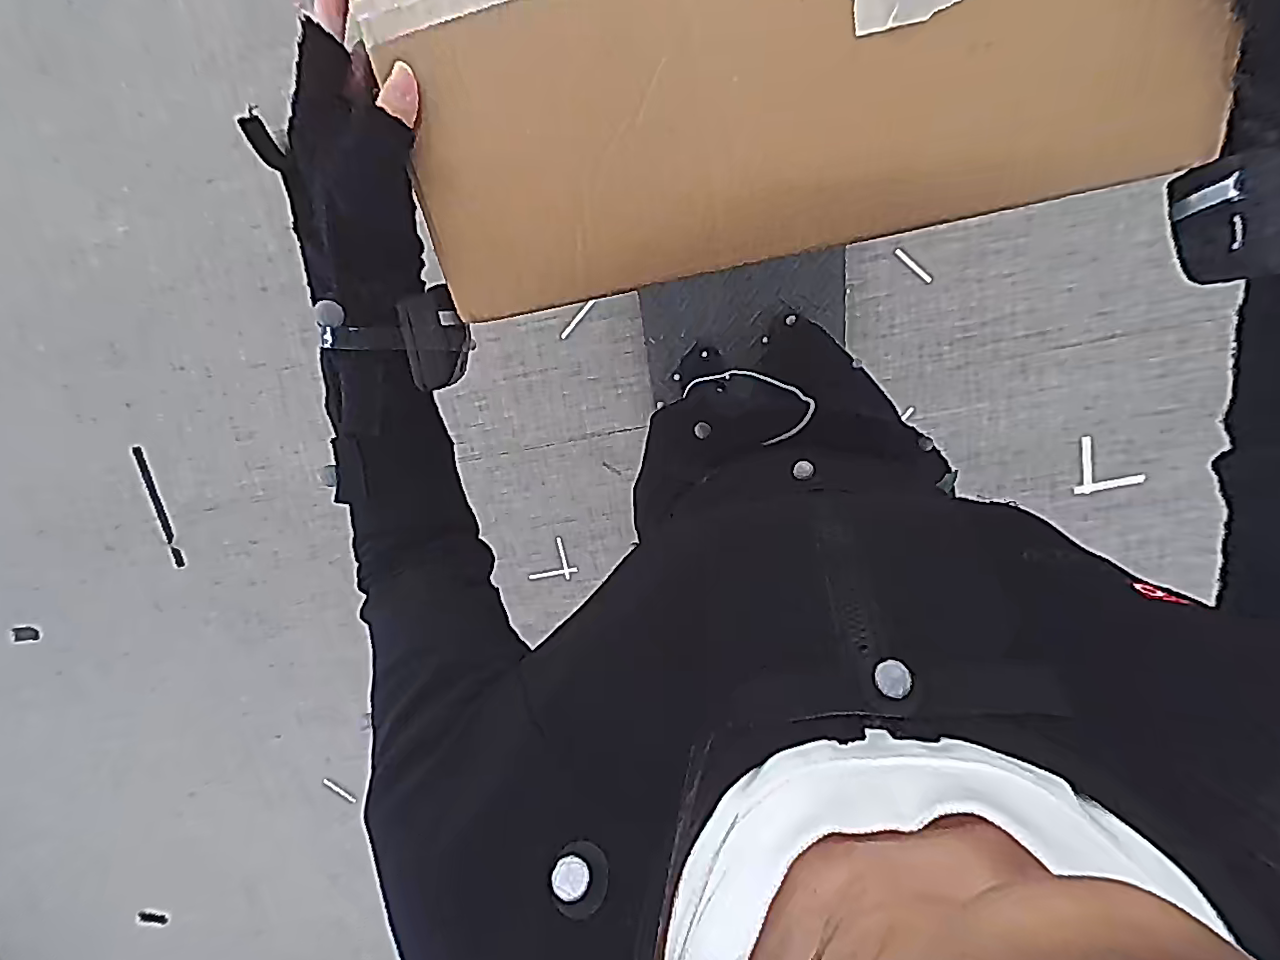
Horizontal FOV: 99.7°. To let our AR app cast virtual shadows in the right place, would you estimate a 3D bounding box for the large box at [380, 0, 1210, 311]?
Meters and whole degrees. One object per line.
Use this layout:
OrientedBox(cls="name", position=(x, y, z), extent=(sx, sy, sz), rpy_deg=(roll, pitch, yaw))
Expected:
OrientedBox(cls="large box", position=(0.069, -0.337, 0.391), extent=(0.408, 0.320, 0.320), rpy_deg=(-9, 113, 11))
